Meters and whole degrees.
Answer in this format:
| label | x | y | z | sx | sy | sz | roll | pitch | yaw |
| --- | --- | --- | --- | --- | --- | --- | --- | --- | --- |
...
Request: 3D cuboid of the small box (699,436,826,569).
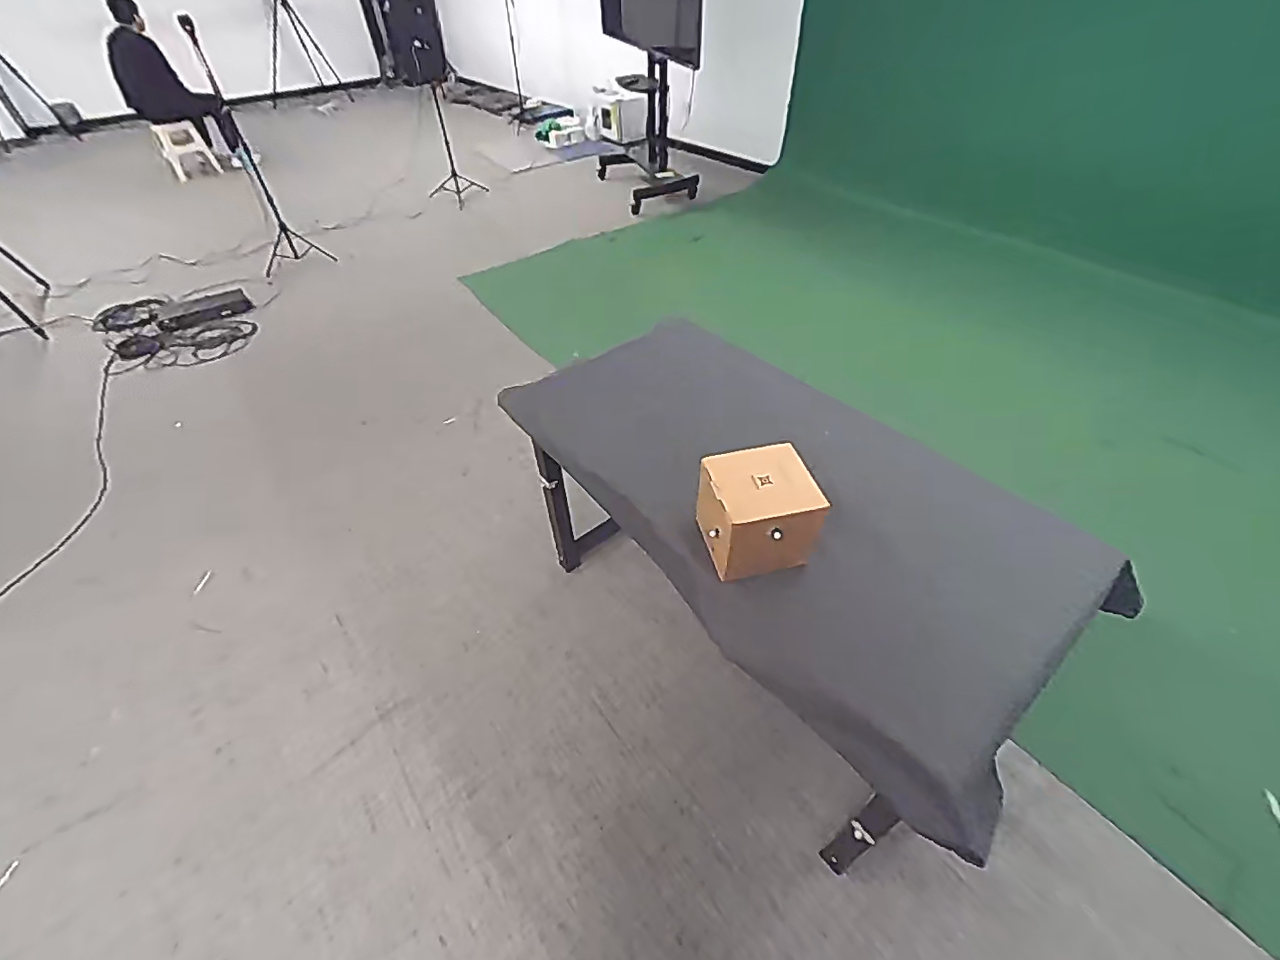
| label | x | y | z | sx | sy | sz | roll | pitch | yaw |
| --- | --- | --- | --- | --- | --- | --- | --- | --- | --- |
| small box | 0.212 | 0.045 | 0.999 | 0.179 | 0.176 | 0.168 | -10 | 48 | -9 |
